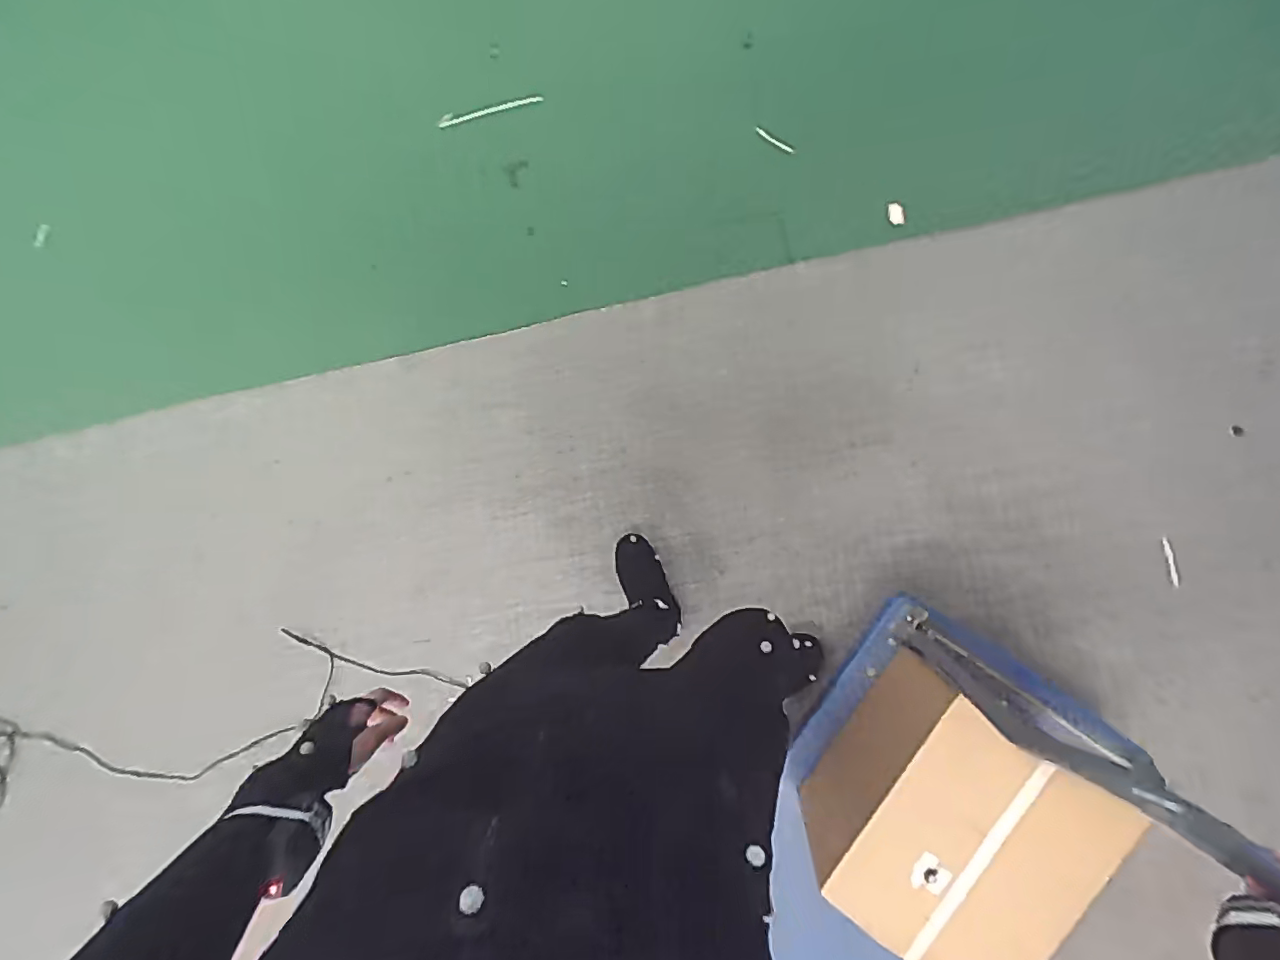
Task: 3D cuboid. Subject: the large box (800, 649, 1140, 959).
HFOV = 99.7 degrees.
[{"bbox_3d":[0.548,0.593,0.988,0.320,0.320,0.408,33,93,10],"label":"large box"}]
